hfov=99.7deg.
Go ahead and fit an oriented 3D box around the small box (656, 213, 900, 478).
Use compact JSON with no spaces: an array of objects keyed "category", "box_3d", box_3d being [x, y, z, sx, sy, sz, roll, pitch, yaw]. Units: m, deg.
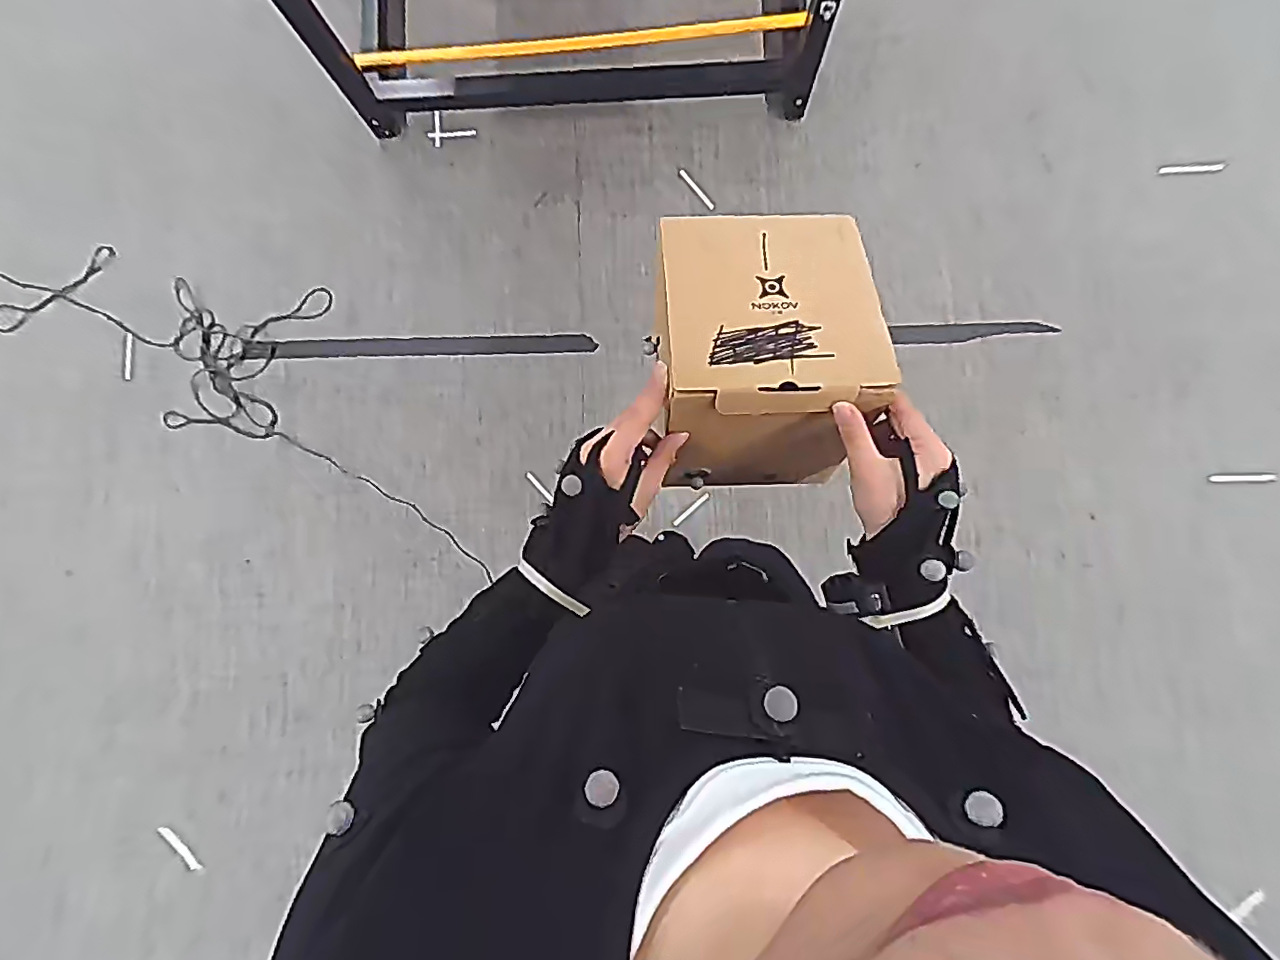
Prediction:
[{"category":"small box","box_3d":[0.101,-0.108,0.487,0.168,0.176,0.179,-1,65,-2]}]
